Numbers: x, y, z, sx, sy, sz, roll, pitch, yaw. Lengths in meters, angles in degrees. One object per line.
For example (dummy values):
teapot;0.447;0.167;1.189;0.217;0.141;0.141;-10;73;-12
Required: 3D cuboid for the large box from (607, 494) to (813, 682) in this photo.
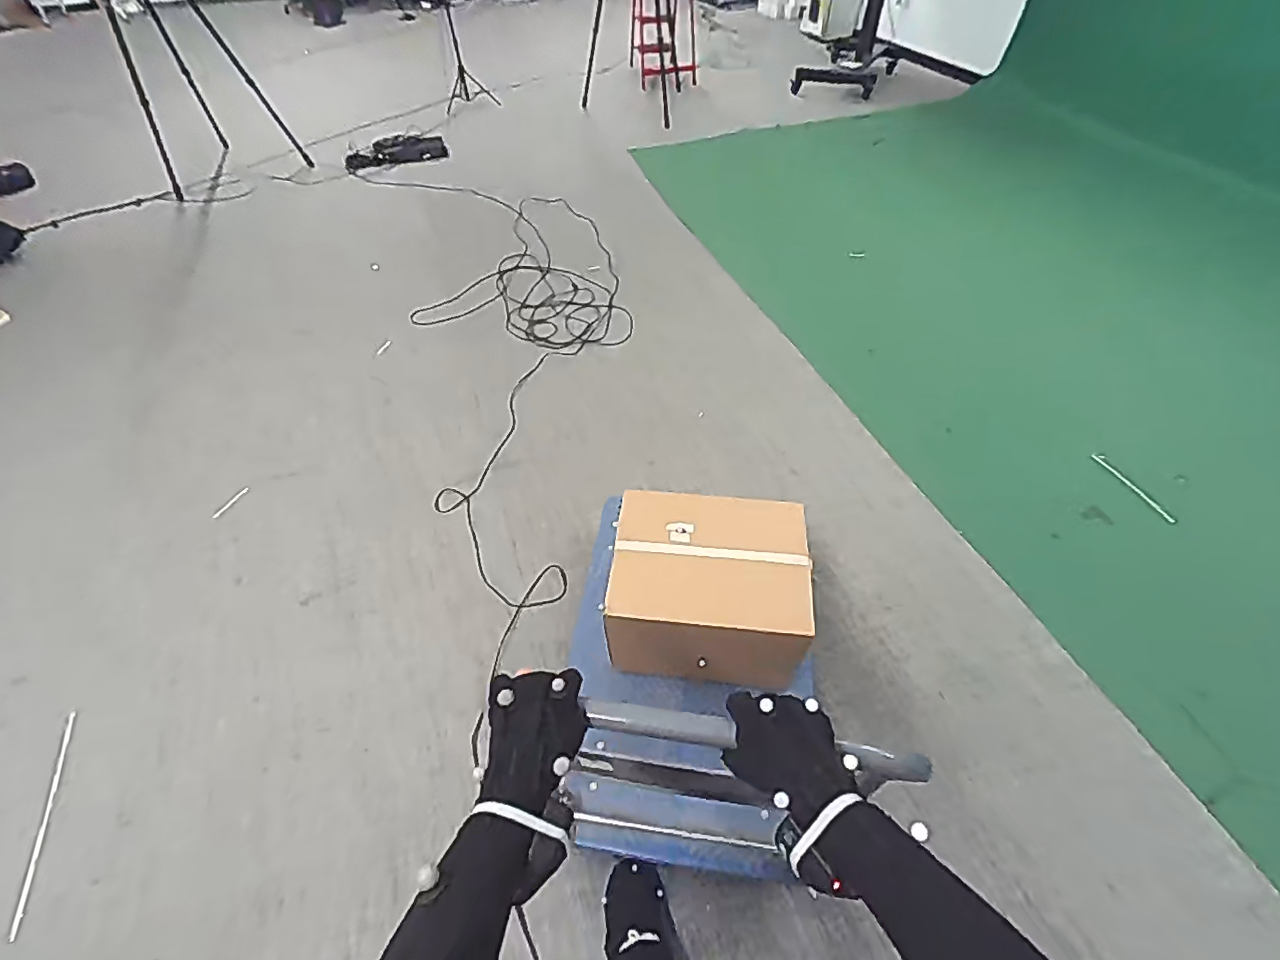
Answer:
large box;0.154;0.253;1.248;0.408;0.320;0.320;4;51;6
